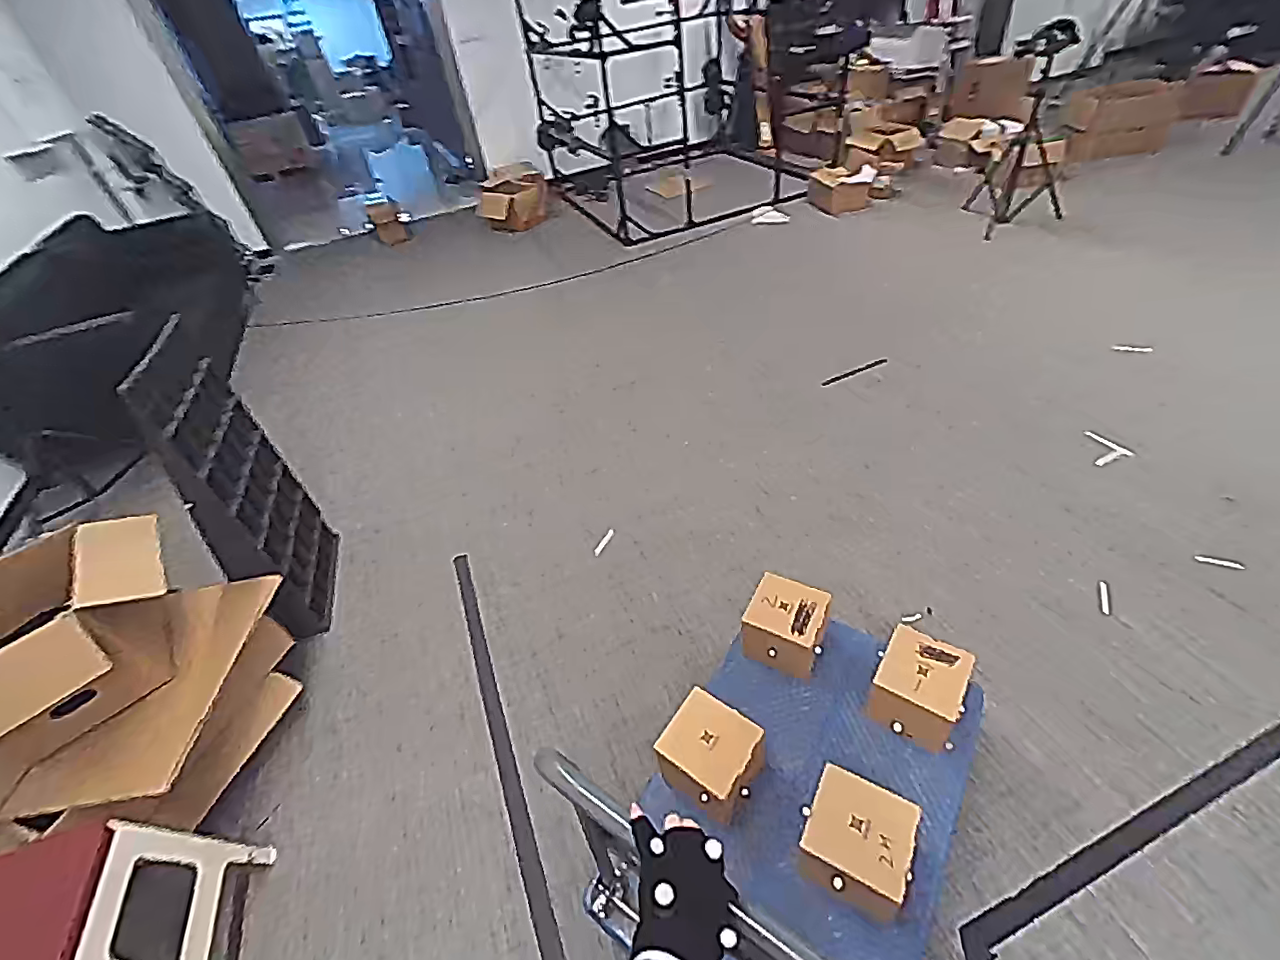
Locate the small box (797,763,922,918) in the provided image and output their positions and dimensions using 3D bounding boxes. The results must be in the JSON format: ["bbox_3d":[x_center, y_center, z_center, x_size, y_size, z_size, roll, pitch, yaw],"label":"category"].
[{"bbox_3d":[0.410,0.687,1.029,0.179,0.176,0.168,17,48,27],"label":"small box"}]

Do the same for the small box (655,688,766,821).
[{"bbox_3d":[0.154,0.600,1.179,0.179,0.176,0.168,24,51,30],"label":"small box"}]

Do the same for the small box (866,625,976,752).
[{"bbox_3d":[0.630,0.472,1.227,0.168,0.176,0.179,22,52,31],"label":"small box"}]
